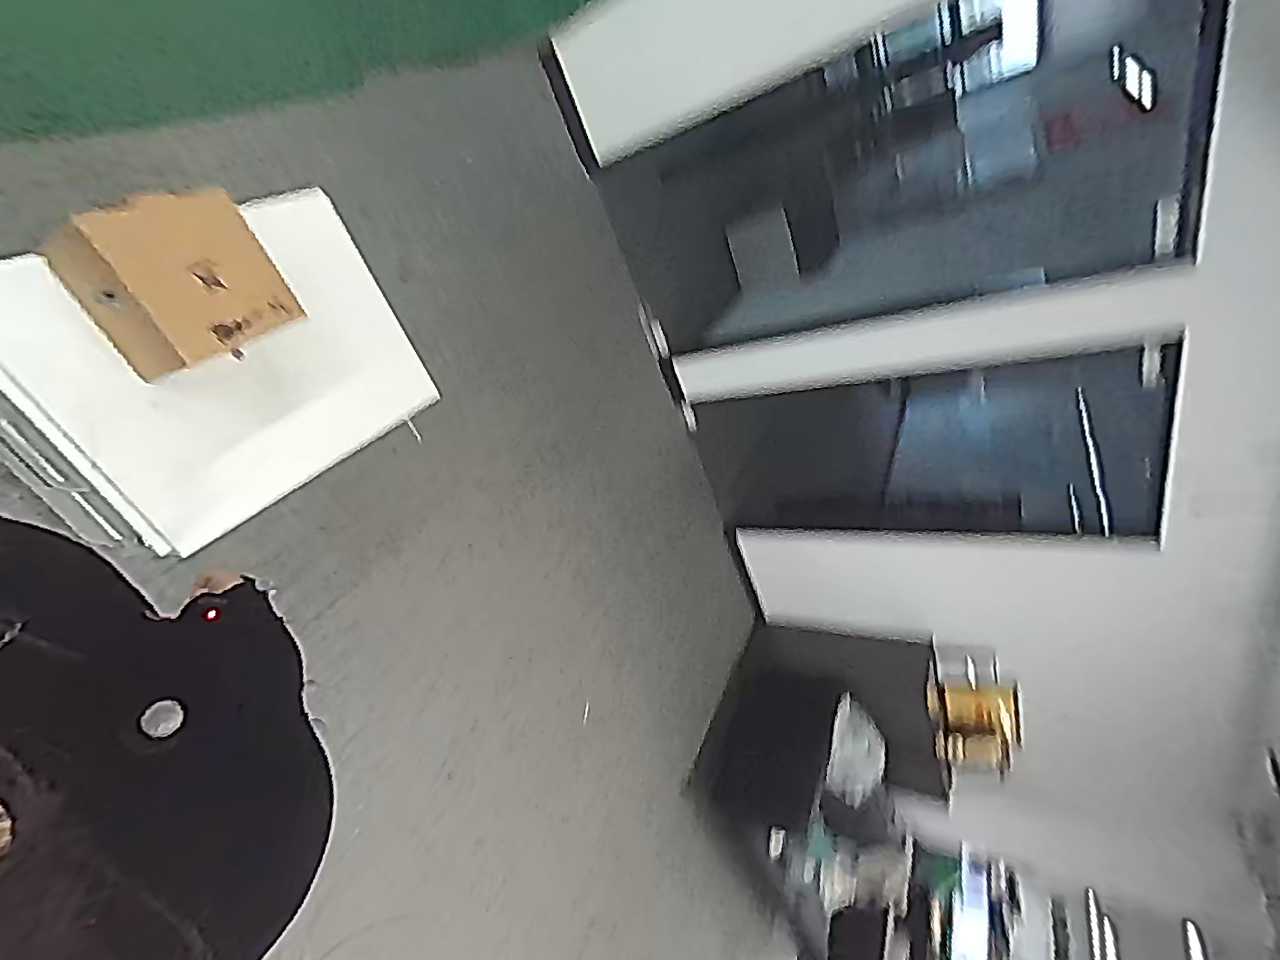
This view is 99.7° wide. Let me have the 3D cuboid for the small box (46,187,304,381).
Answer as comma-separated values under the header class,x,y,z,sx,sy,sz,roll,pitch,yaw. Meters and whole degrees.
class,x,y,z,sx,sy,sz,roll,pitch,yaw
small box,-0.597,-0.247,0.701,0.168,0.176,0.179,-51,129,-44
